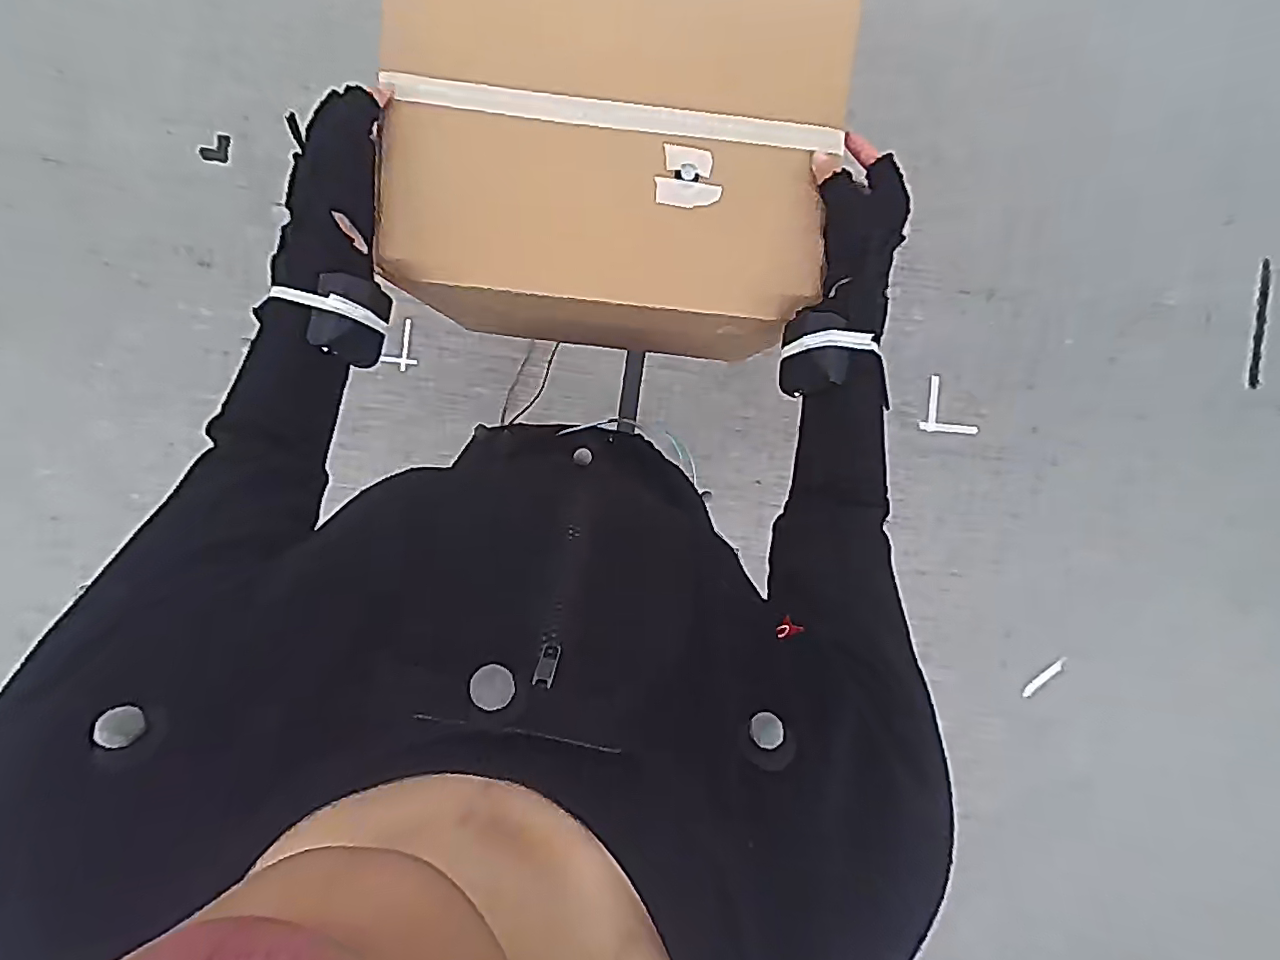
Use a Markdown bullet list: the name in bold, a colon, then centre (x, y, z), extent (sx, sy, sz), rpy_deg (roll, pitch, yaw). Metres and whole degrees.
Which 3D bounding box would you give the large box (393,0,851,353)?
- **large box**: centre (-0.026, -0.339, 0.635), extent (0.408, 0.320, 0.320), rpy_deg (5, 97, -4)
